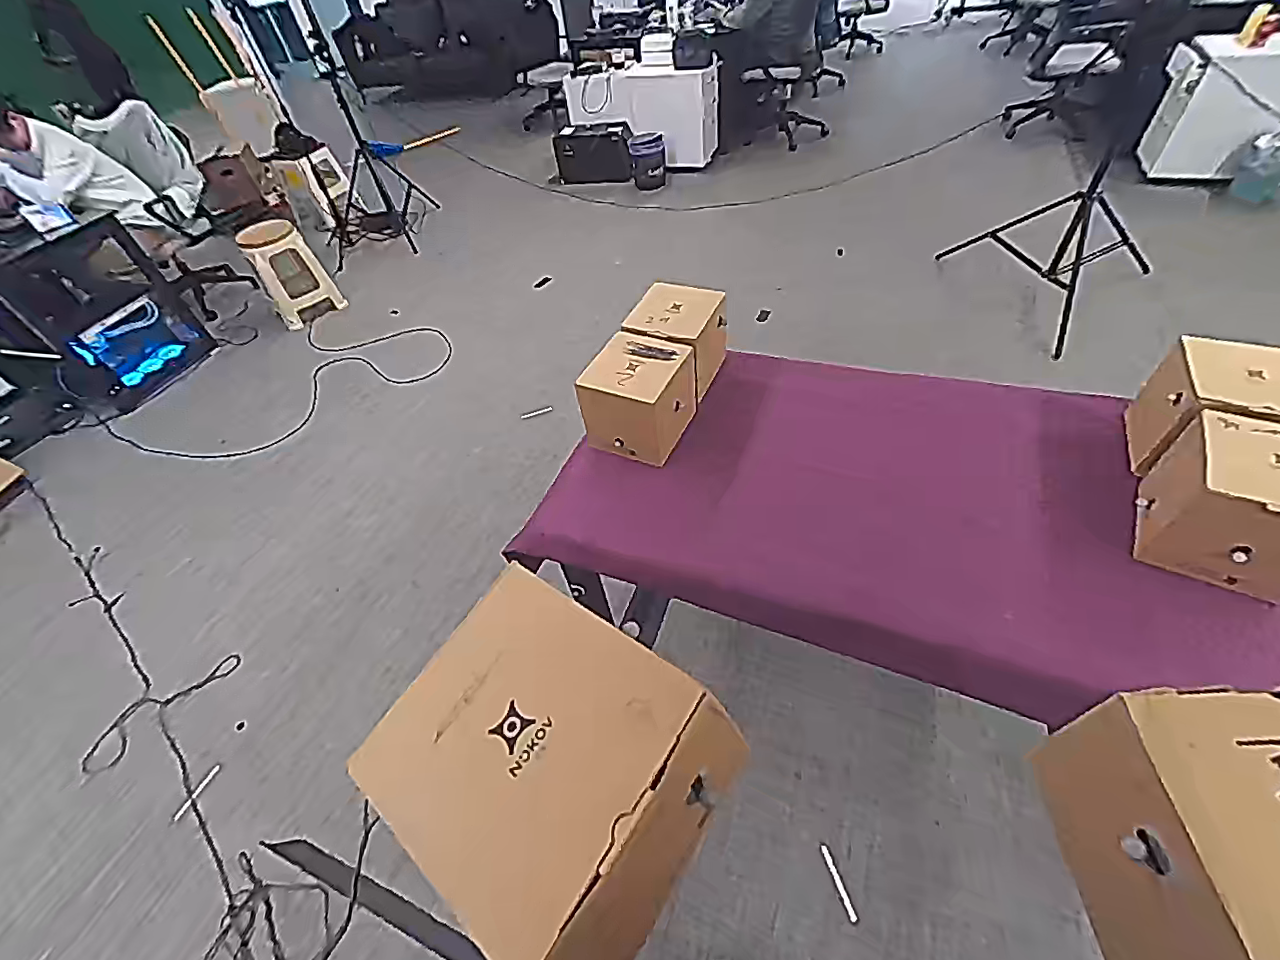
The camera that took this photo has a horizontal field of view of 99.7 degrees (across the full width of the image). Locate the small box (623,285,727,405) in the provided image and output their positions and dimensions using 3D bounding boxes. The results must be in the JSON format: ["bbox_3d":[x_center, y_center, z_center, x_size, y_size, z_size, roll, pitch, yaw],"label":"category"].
[{"bbox_3d":[0.080,-0.293,1.167,0.168,0.176,0.179,16,54,21],"label":"small box"}]

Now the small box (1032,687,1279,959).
[{"bbox_3d":[0.377,0.236,0.321,0.168,0.176,0.179,-7,52,11],"label":"small box"}]

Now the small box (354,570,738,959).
[{"bbox_3d":[-0.048,0.199,0.386,0.179,0.176,0.168,23,64,33],"label":"small box"}]

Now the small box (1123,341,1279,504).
[{"bbox_3d":[0.927,-0.094,0.875,0.168,0.176,0.179,17,52,20],"label":"small box"}]
